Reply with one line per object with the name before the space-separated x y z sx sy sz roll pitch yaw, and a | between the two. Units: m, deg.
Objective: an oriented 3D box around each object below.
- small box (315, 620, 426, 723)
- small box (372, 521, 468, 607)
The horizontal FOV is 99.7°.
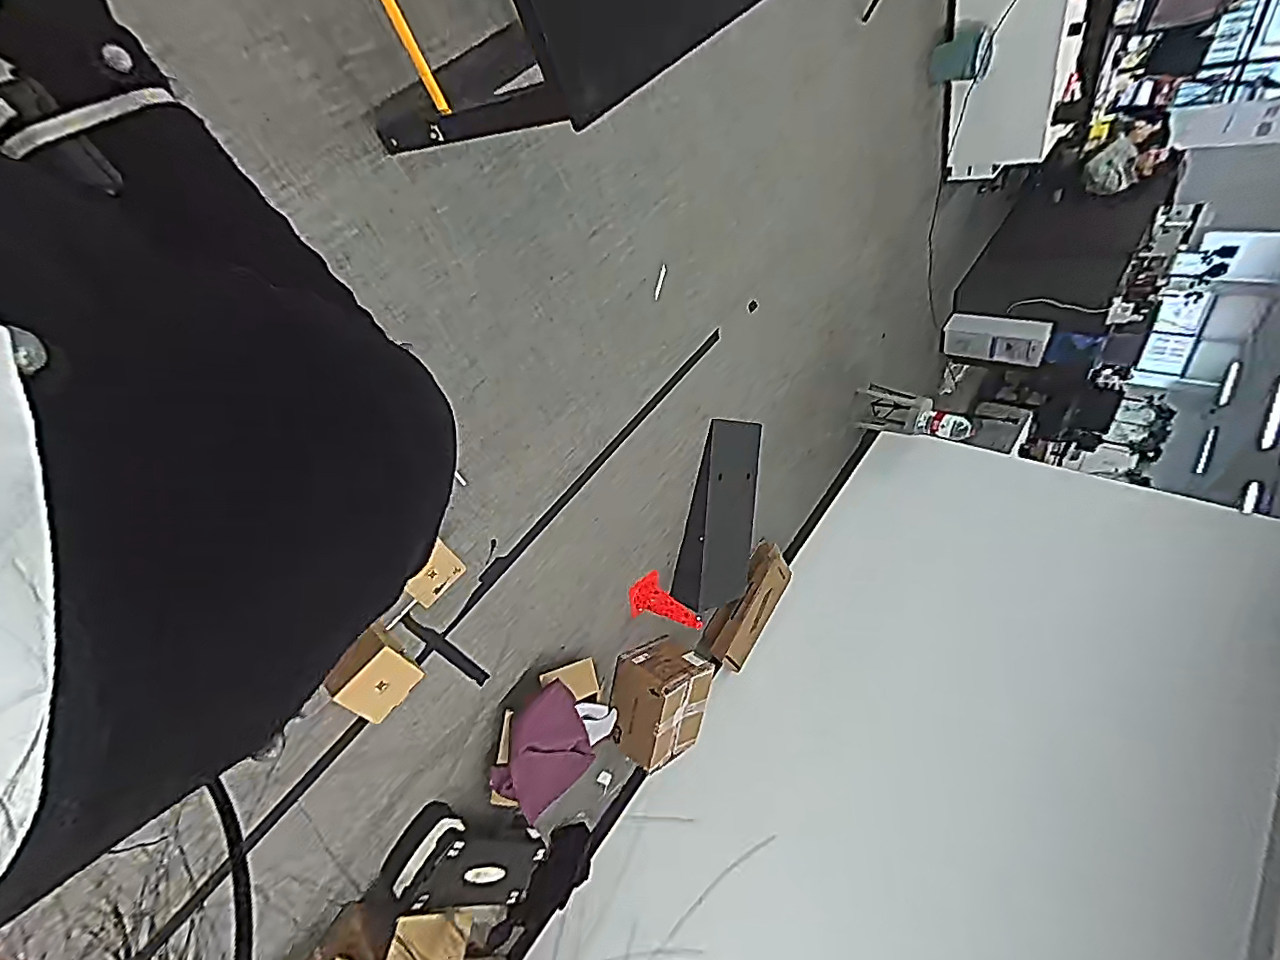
small box | -0.715 0.502 1.435 0.168 0.176 0.179 -49 137 -22
small box | -0.664 0.243 1.626 0.168 0.176 0.179 -48 137 -23
